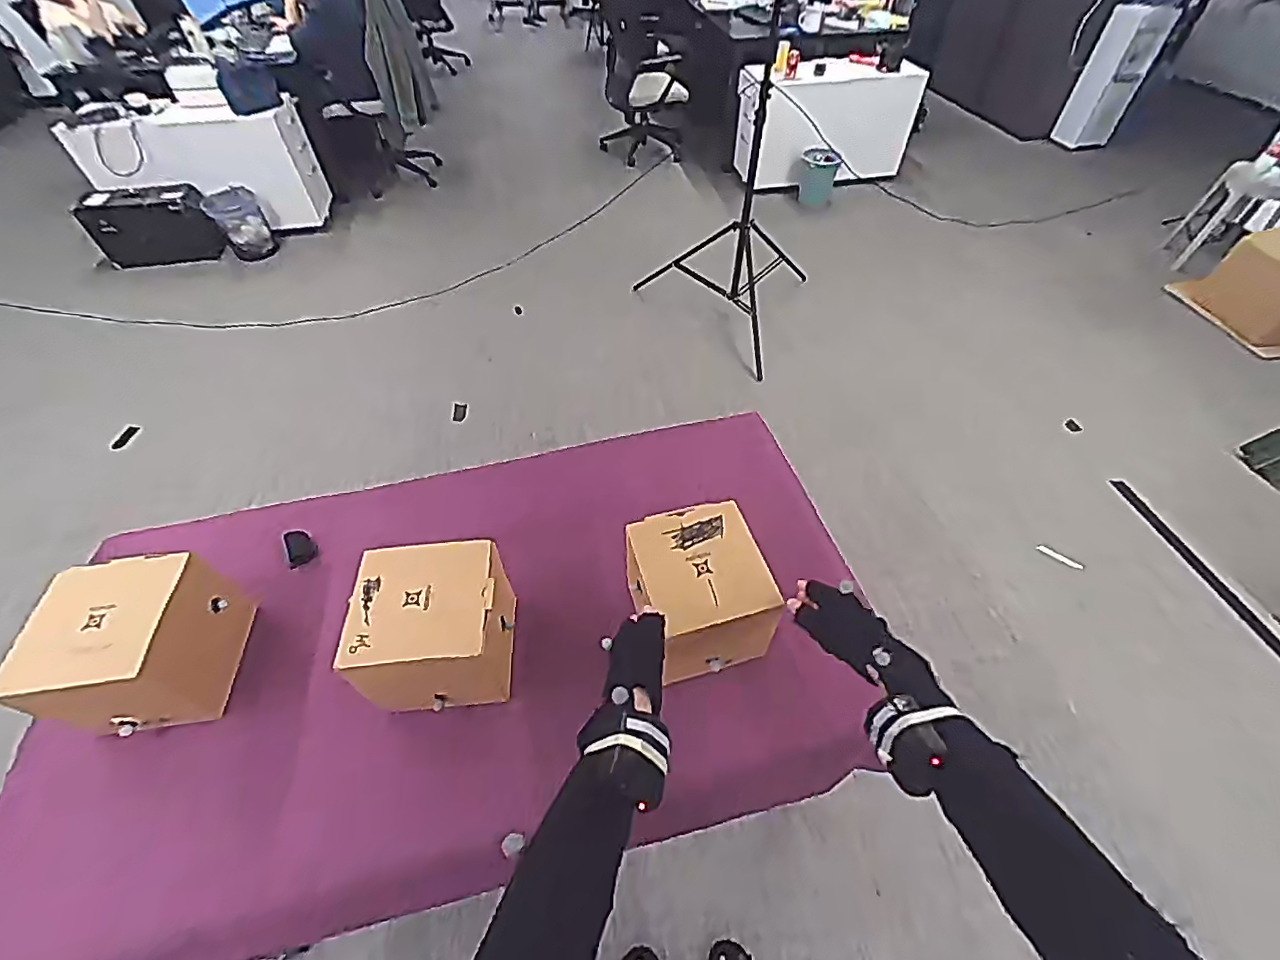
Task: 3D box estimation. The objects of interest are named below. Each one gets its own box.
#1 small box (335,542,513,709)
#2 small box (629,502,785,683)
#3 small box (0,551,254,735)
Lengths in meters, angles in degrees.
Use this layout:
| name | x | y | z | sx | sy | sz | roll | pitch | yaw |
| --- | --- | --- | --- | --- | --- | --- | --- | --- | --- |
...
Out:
| name | x | y | z | sx | sy | sz | roll | pitch | yaw |
| --- | --- | --- | --- | --- | --- | --- | --- | --- | --- |
| small box | -0.277 | 0.203 | 0.746 | 0.179 | 0.176 | 0.168 | -4 | 50 | -3 |
| small box | 0.083 | 0.162 | 0.776 | 0.168 | 0.176 | 0.179 | -13 | 51 | -9 |
| small box | -0.669 | 0.222 | 0.733 | 0.168 | 0.176 | 0.179 | -8 | 51 | -5 |
